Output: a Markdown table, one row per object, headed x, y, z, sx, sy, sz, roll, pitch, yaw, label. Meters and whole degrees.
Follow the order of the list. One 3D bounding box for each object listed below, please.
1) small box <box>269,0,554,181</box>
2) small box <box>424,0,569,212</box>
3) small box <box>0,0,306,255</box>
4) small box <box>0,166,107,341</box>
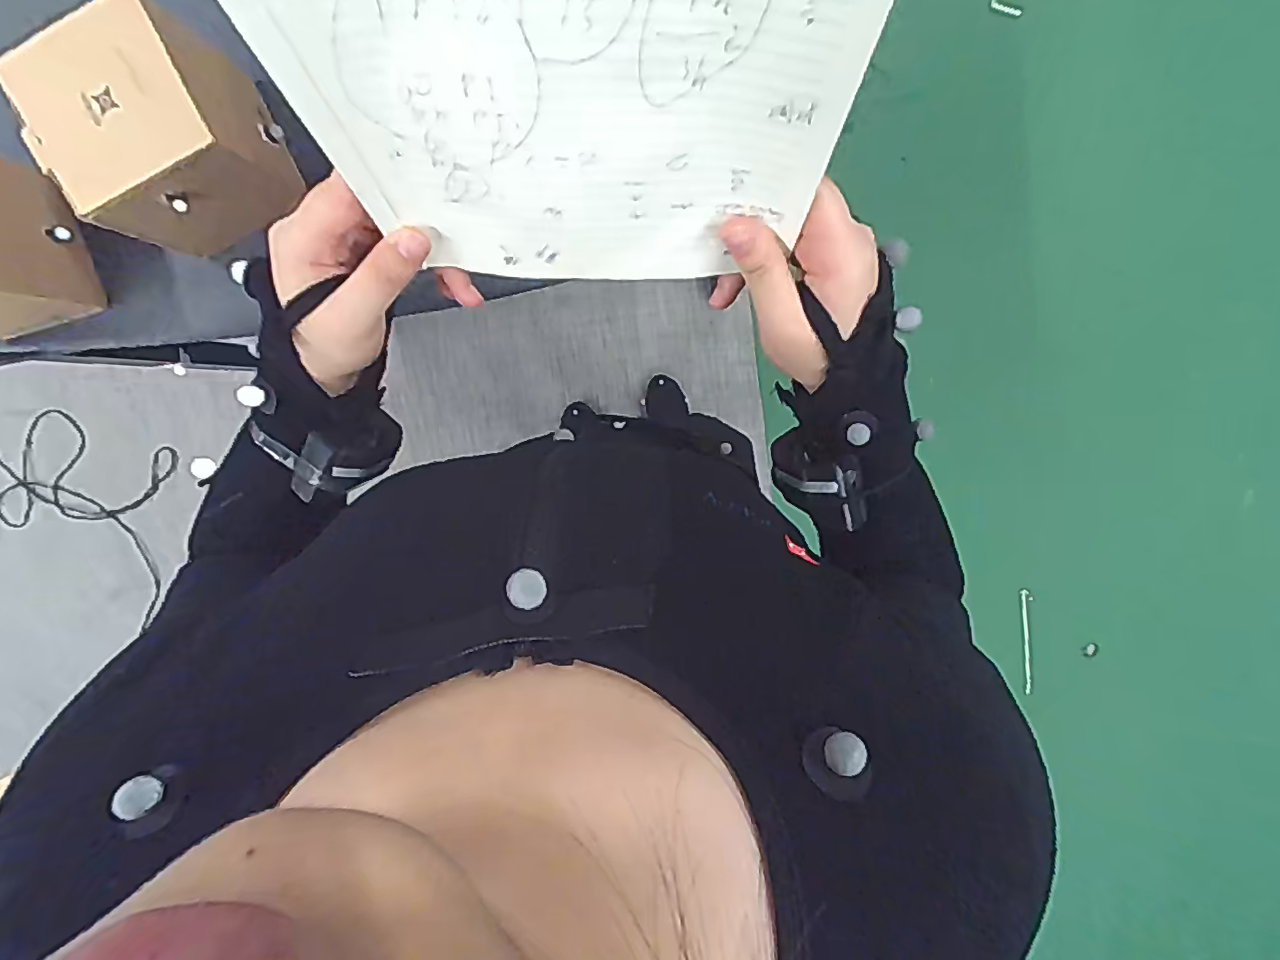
| x | y | z | sx | sy | sz | roll | pitch | yaw | label |
| --- | --- | --- | --- | --- | --- | --- | --- | --- | --- |
| -0.178 | -0.382 | 0.455 | 0.179 | 0.176 | 0.168 | -10 | 98 | 4 | small box |
| -0.178 | -0.430 | 0.612 | 0.168 | 0.176 | 0.179 | 6 | 99 | 2 | small box |
| -0.547 | -0.392 | 0.634 | 0.179 | 0.176 | 0.168 | -25 | 97 | 5 | small box |
| -0.829 | -0.283 | 0.659 | 0.168 | 0.176 | 0.179 | -15 | 98 | 4 | small box |
